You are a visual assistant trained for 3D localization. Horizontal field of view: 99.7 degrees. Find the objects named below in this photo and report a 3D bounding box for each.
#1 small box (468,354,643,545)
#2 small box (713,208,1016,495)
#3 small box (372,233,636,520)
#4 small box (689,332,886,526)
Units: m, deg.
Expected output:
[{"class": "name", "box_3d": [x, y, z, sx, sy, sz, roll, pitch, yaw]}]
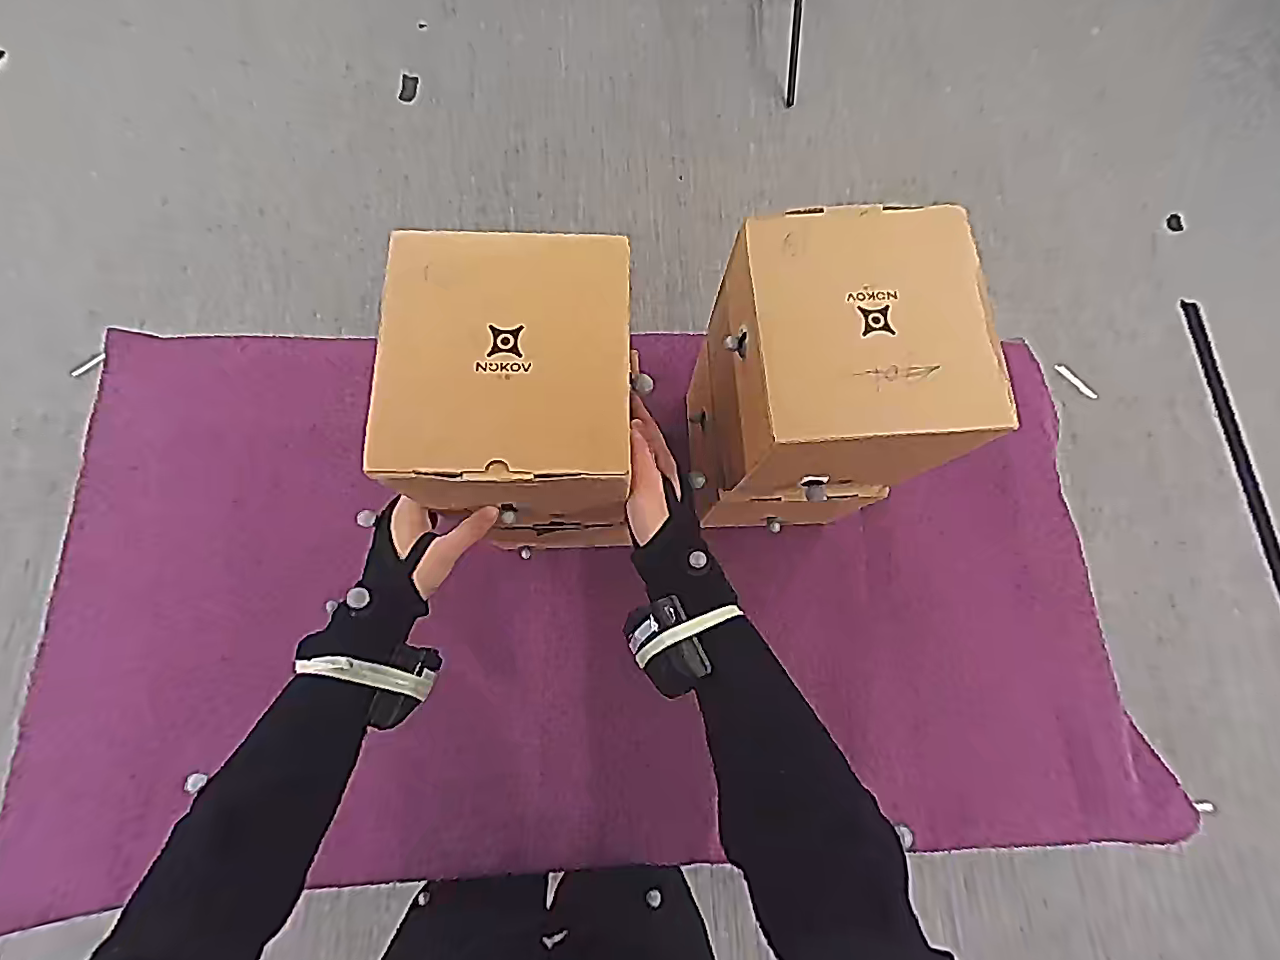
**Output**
[{"class": "small box", "box_3d": [-0.081, -0.023, 0.593, 0.168, 0.176, 0.179, -2, 76, -3]}, {"class": "small box", "box_3d": [0.161, -0.093, 0.453, 0.168, 0.176, 0.179, -5, 77, -2]}, {"class": "small box", "box_3d": [-0.089, -0.068, 0.436, 0.168, 0.176, 0.179, 0, 77, -2]}, {"class": "small box", "box_3d": [0.149, -0.049, 0.609, 0.168, 0.176, 0.179, -2, 77, -2]}]
